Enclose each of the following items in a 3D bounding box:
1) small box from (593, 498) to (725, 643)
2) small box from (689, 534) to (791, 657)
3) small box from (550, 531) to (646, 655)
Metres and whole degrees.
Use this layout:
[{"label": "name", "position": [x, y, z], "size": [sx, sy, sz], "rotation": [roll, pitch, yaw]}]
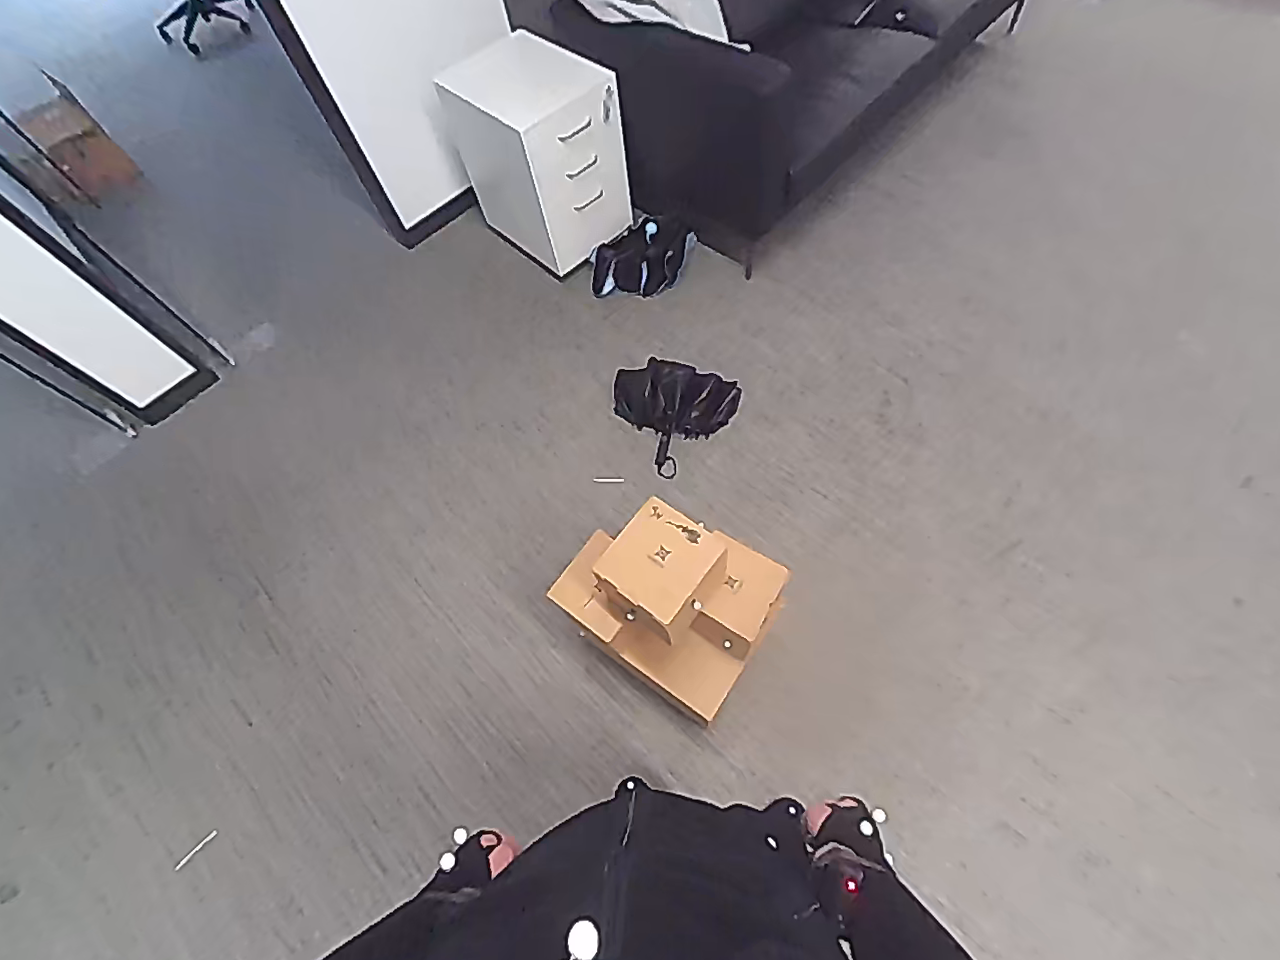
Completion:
[{"label": "small box", "position": [0.043, 0.172, 0.991], "size": [0.168, 0.176, 0.179], "rotation": [34, 72, 22]}, {"label": "small box", "position": [0.188, 0.247, 1.123], "size": [0.179, 0.176, 0.168], "rotation": [27, 65, 21]}, {"label": "small box", "position": [-0.060, 0.245, 1.153], "size": [0.168, 0.176, 0.179], "rotation": [32, 73, 22]}]
